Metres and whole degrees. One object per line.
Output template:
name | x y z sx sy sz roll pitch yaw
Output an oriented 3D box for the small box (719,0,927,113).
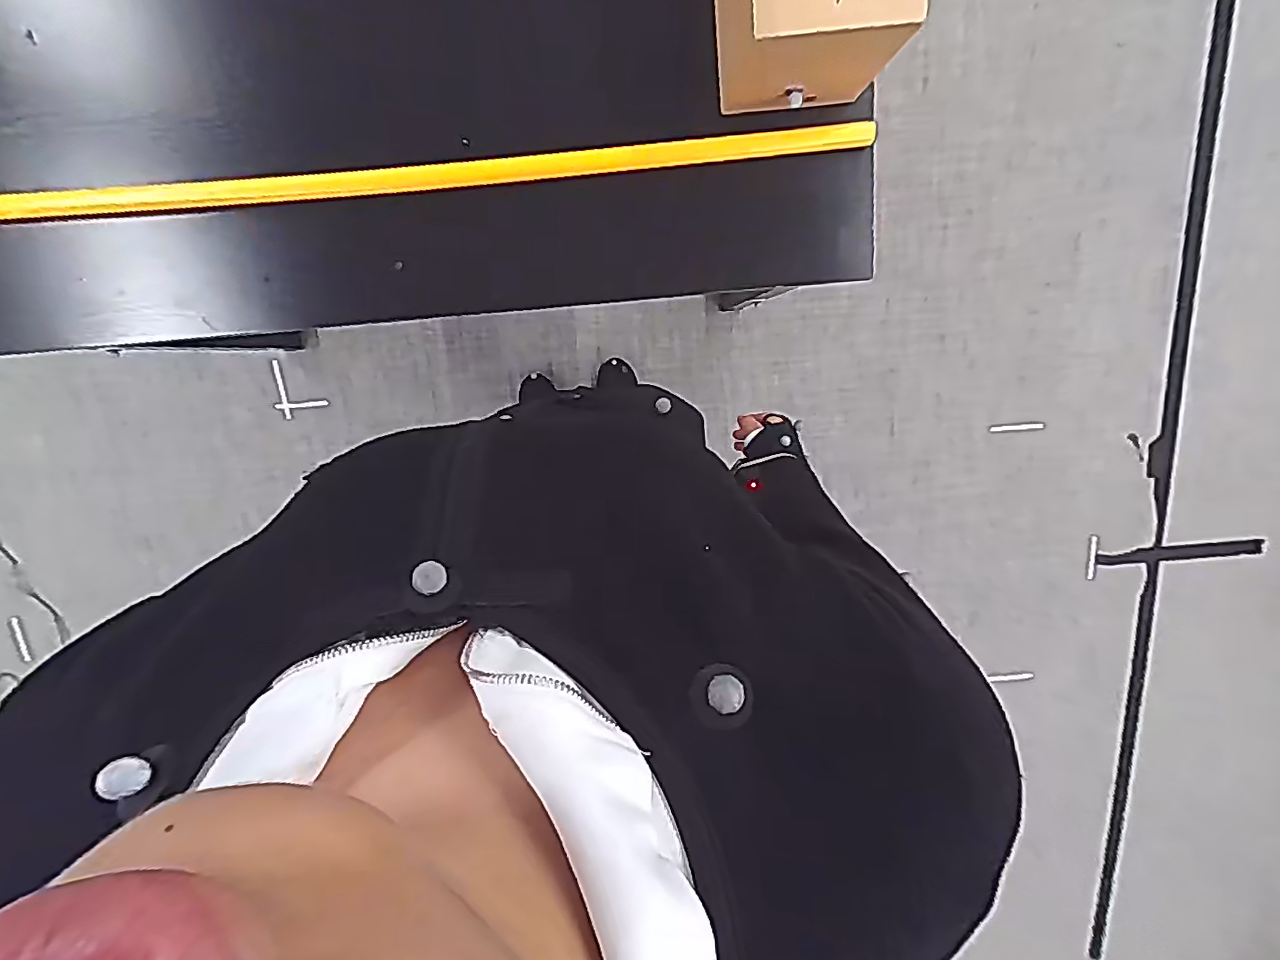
small box | 0.178 -0.522 0.566 0.168 0.176 0.179 -5 103 -1
